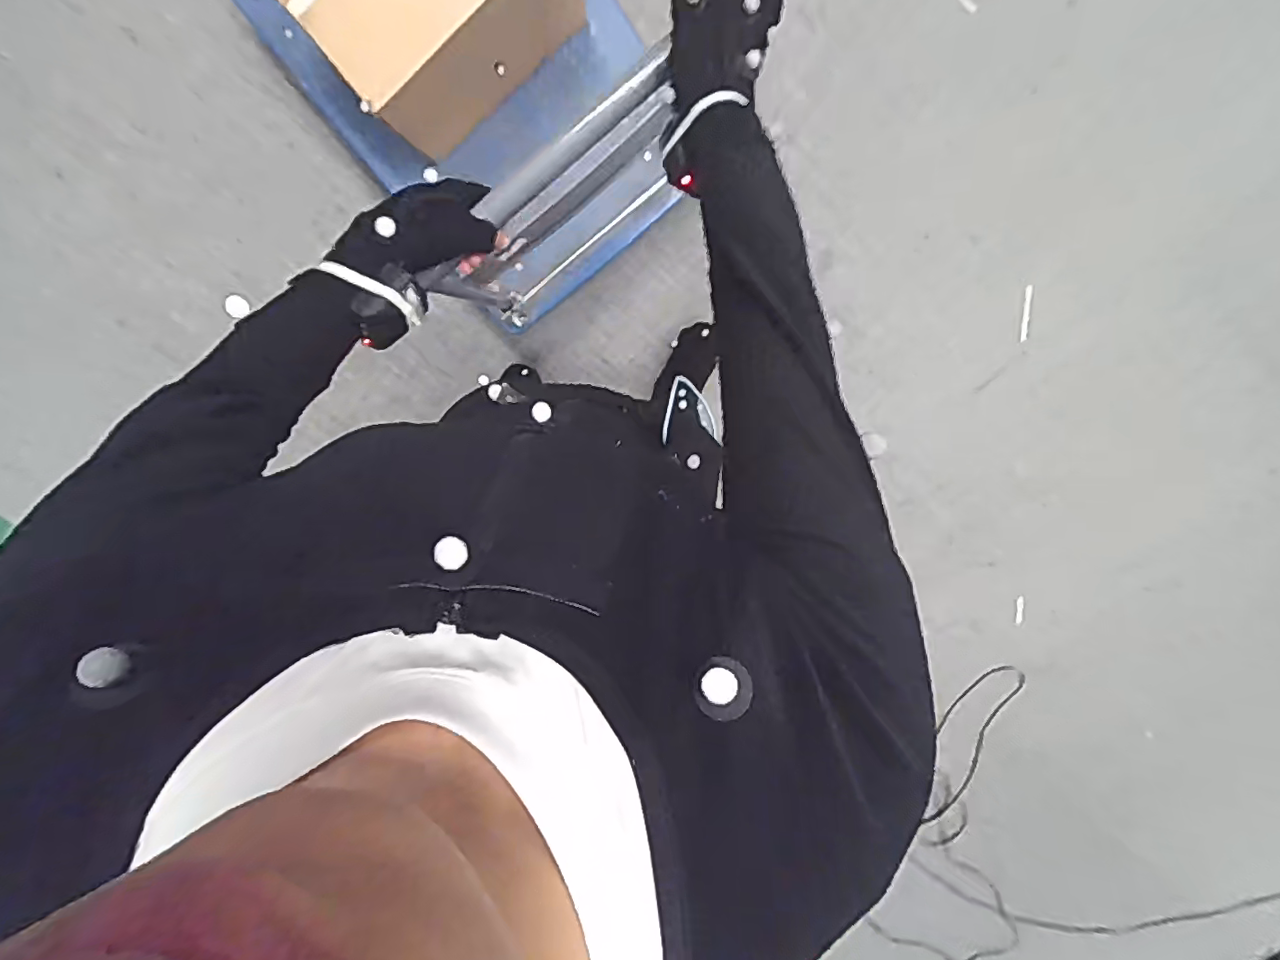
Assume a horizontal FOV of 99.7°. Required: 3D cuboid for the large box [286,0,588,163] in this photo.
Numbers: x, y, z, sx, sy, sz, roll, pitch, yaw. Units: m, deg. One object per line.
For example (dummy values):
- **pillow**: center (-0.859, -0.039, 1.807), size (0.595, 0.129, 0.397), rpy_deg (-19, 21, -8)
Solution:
- **large box**: center (-0.337, -0.831, 0.900), size (0.408, 0.320, 0.320), rpy_deg (-38, 105, 10)
